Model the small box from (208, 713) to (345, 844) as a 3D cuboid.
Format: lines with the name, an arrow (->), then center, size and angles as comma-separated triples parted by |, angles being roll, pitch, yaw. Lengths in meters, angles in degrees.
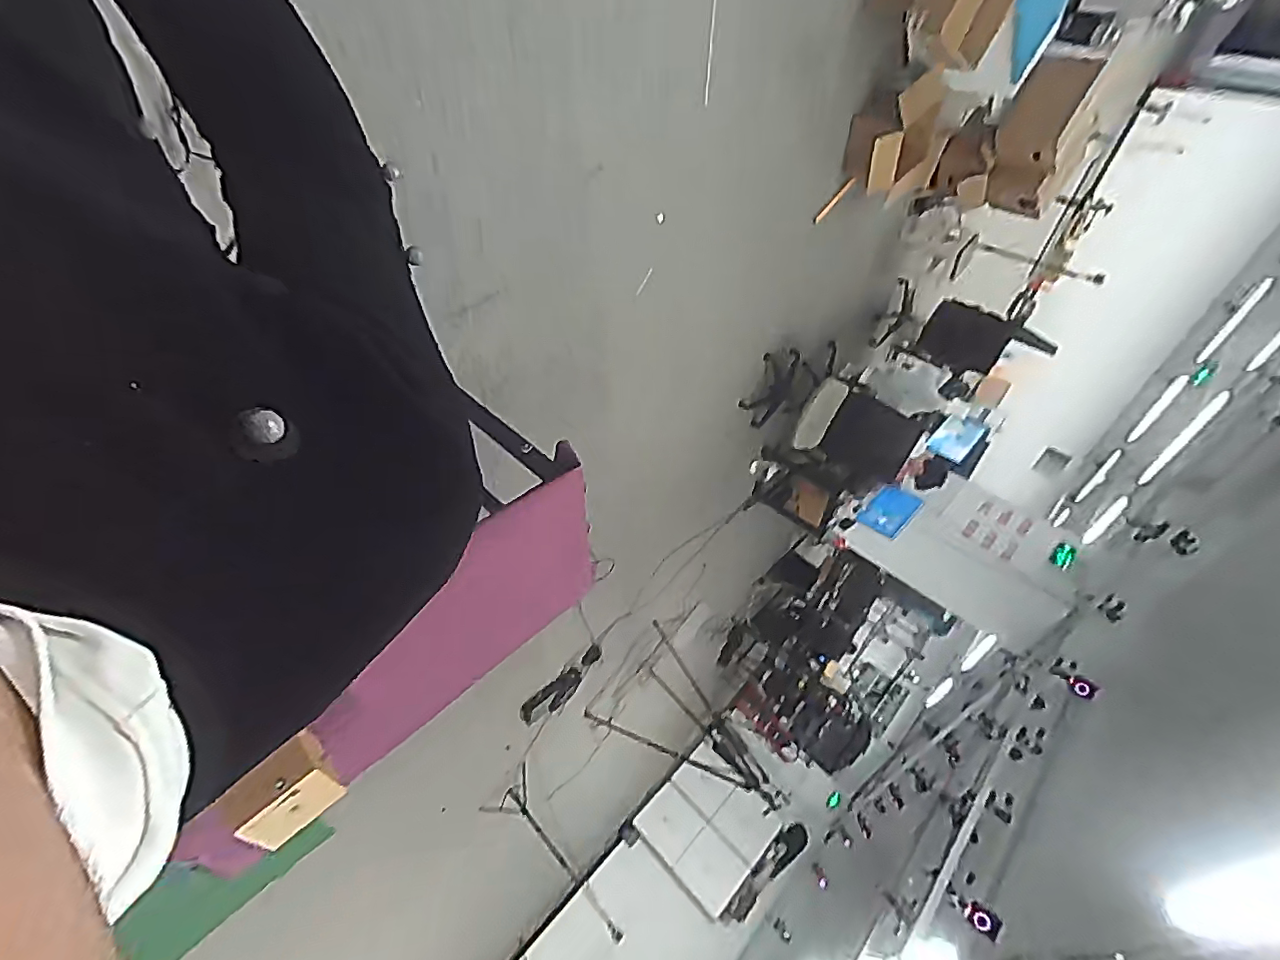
small box -> -0.789, 0.647, 1.181 | 0.168, 0.176, 0.179 | -37, 148, -30
